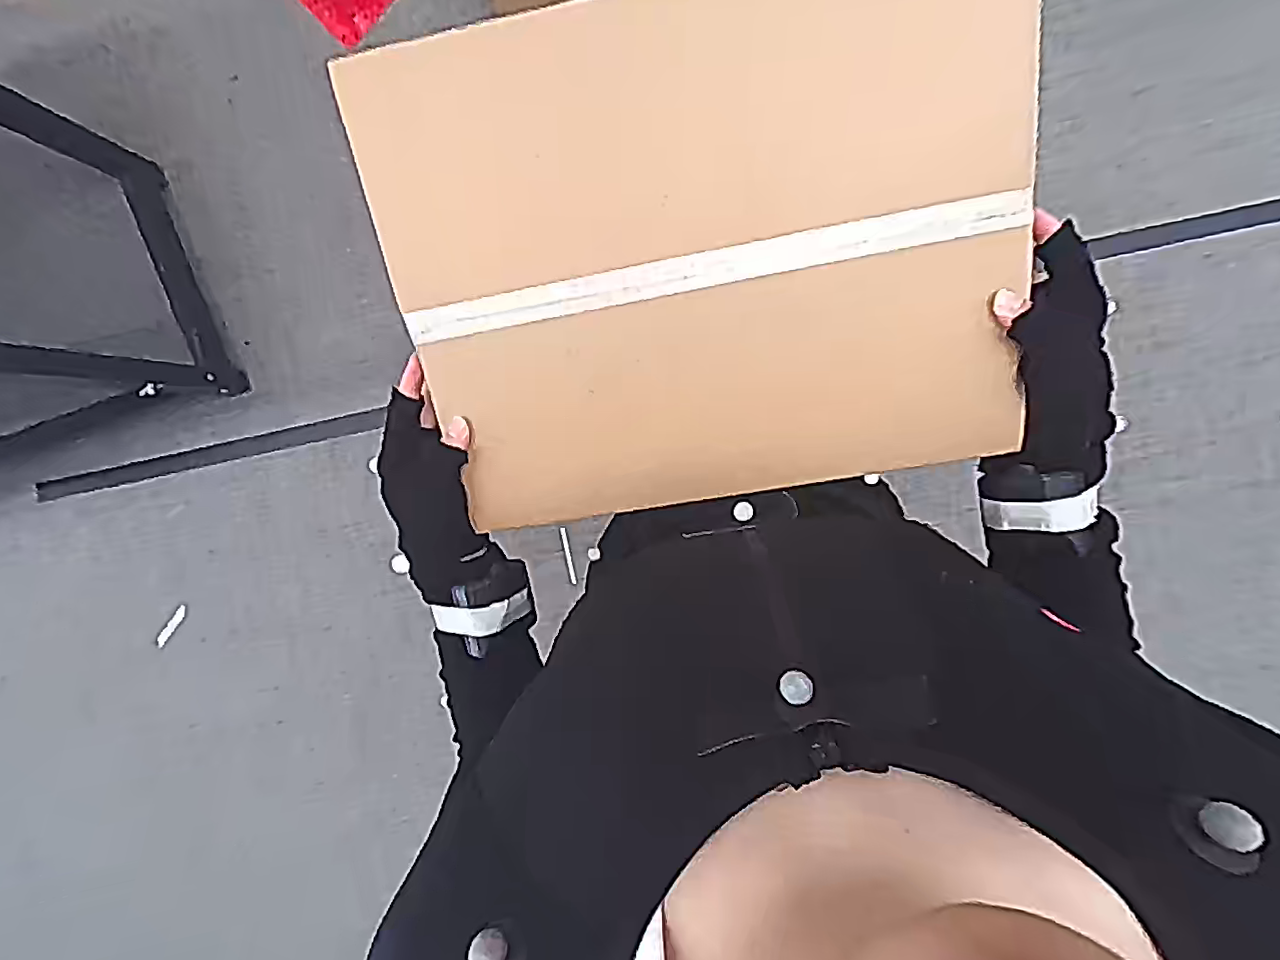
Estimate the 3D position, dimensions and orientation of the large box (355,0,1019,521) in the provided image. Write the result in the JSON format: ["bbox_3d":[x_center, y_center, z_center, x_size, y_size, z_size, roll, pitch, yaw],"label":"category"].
[{"bbox_3d":[0.046,-0.189,0.503,0.408,0.320,0.320,-9,109,6],"label":"large box"}]
